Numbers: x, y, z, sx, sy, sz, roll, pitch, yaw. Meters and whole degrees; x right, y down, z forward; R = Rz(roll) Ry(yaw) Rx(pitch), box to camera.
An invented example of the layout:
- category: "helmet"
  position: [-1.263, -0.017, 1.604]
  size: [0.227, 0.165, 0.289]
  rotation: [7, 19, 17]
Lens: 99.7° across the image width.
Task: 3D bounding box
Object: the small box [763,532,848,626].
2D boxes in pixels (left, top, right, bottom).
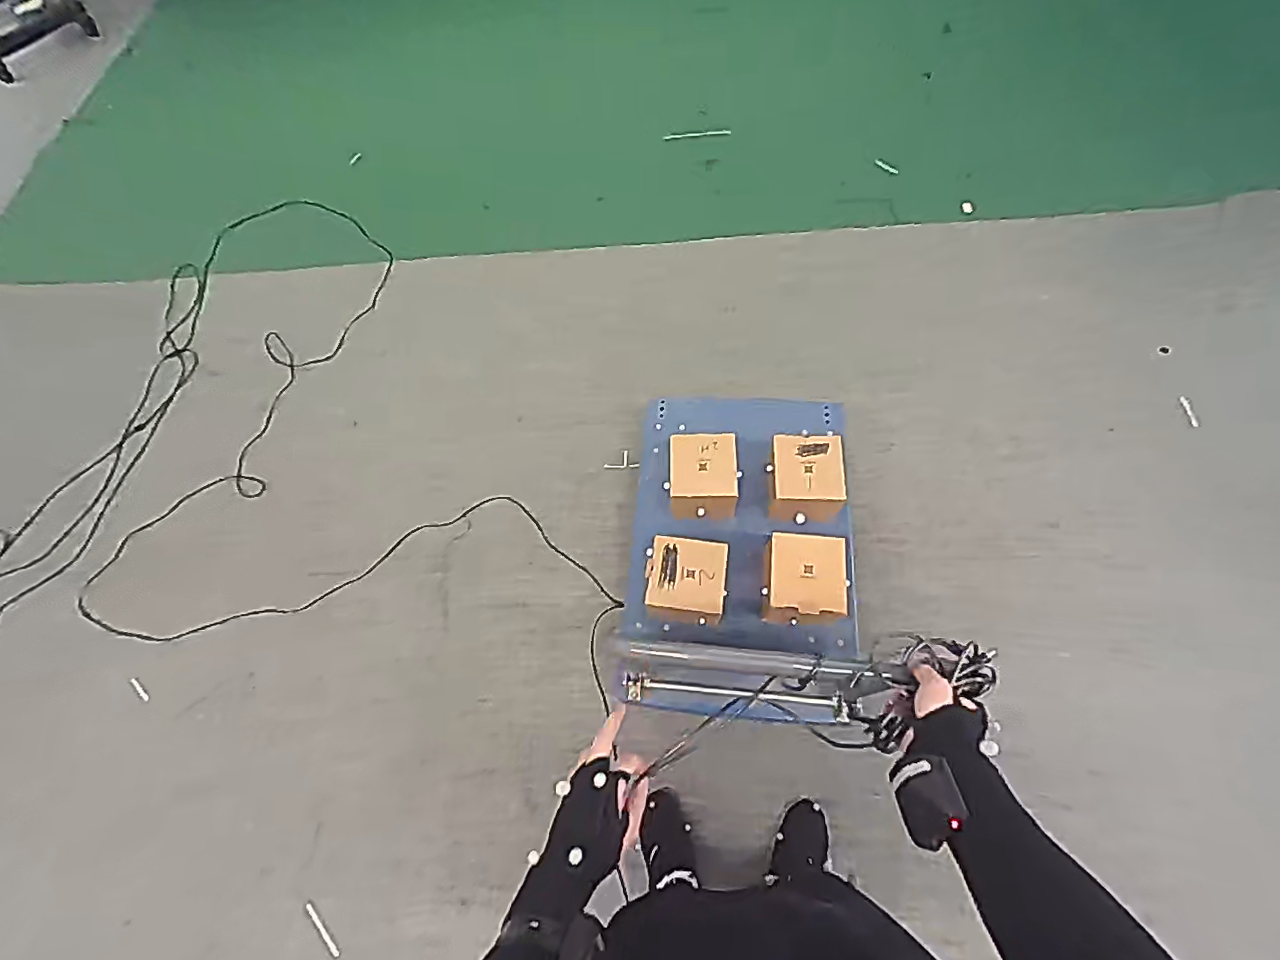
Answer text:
- category: "small box"
  position: [0.387, 0.238, 1.288]
  size: [0.168, 0.176, 0.179]
  rotation: [4, 66, 7]

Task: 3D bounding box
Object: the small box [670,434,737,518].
- category: "small box"
  position: [0.167, -0.006, 1.420]
  size: [0.168, 0.176, 0.179]
  rotation: [0, 65, 5]

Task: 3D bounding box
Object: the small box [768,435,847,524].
- category: "small box"
  position: [0.422, -0.001, 1.391]
  size: [0.168, 0.176, 0.179]
  rotation: [1, 66, 7]
